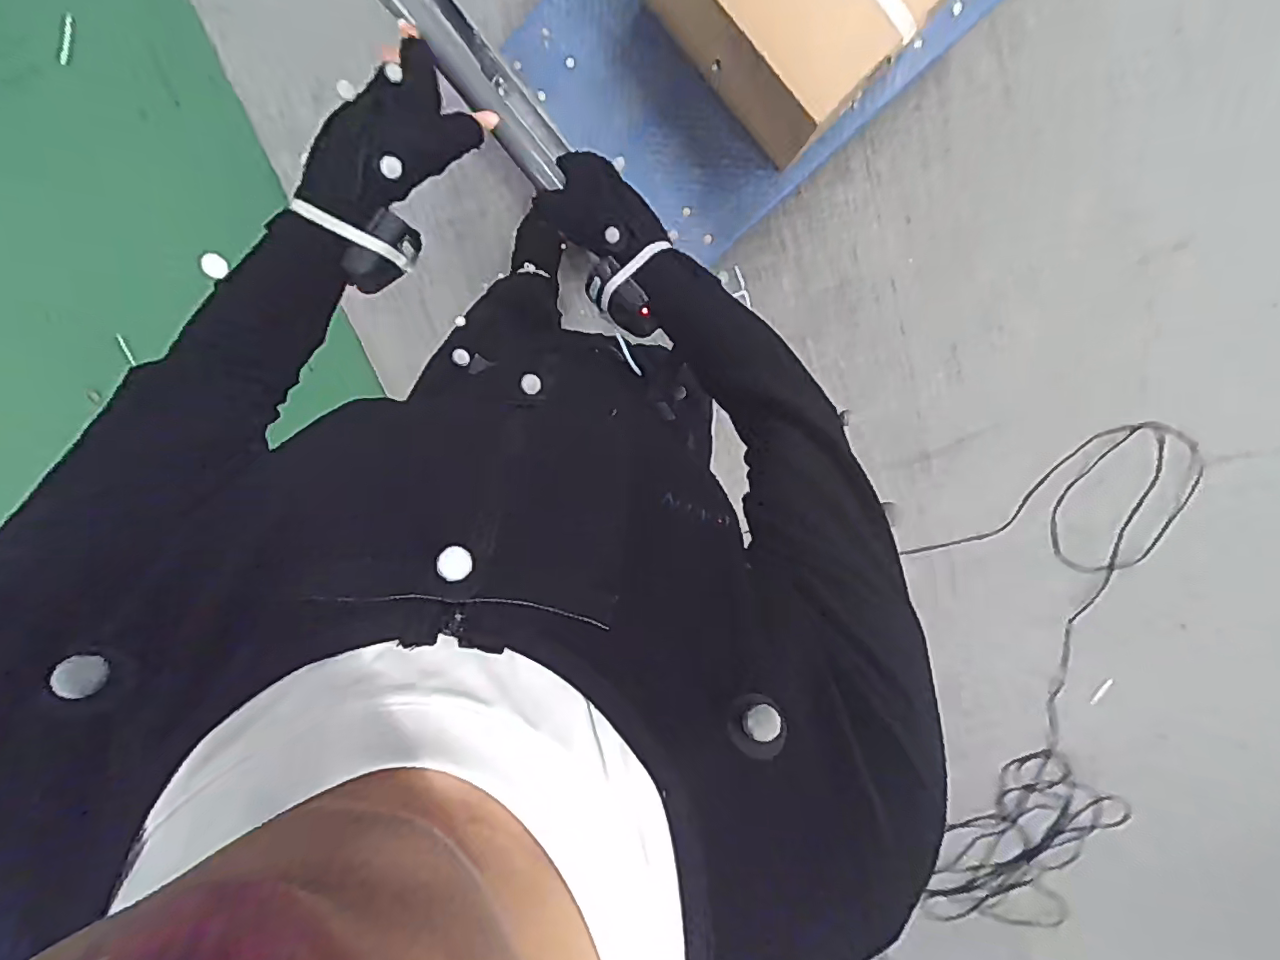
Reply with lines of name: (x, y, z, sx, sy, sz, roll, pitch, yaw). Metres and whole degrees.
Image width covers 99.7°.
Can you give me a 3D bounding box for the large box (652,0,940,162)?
large box: (0.250, -0.818, 0.875, 0.408, 0.320, 0.320, 44, 107, -9)
